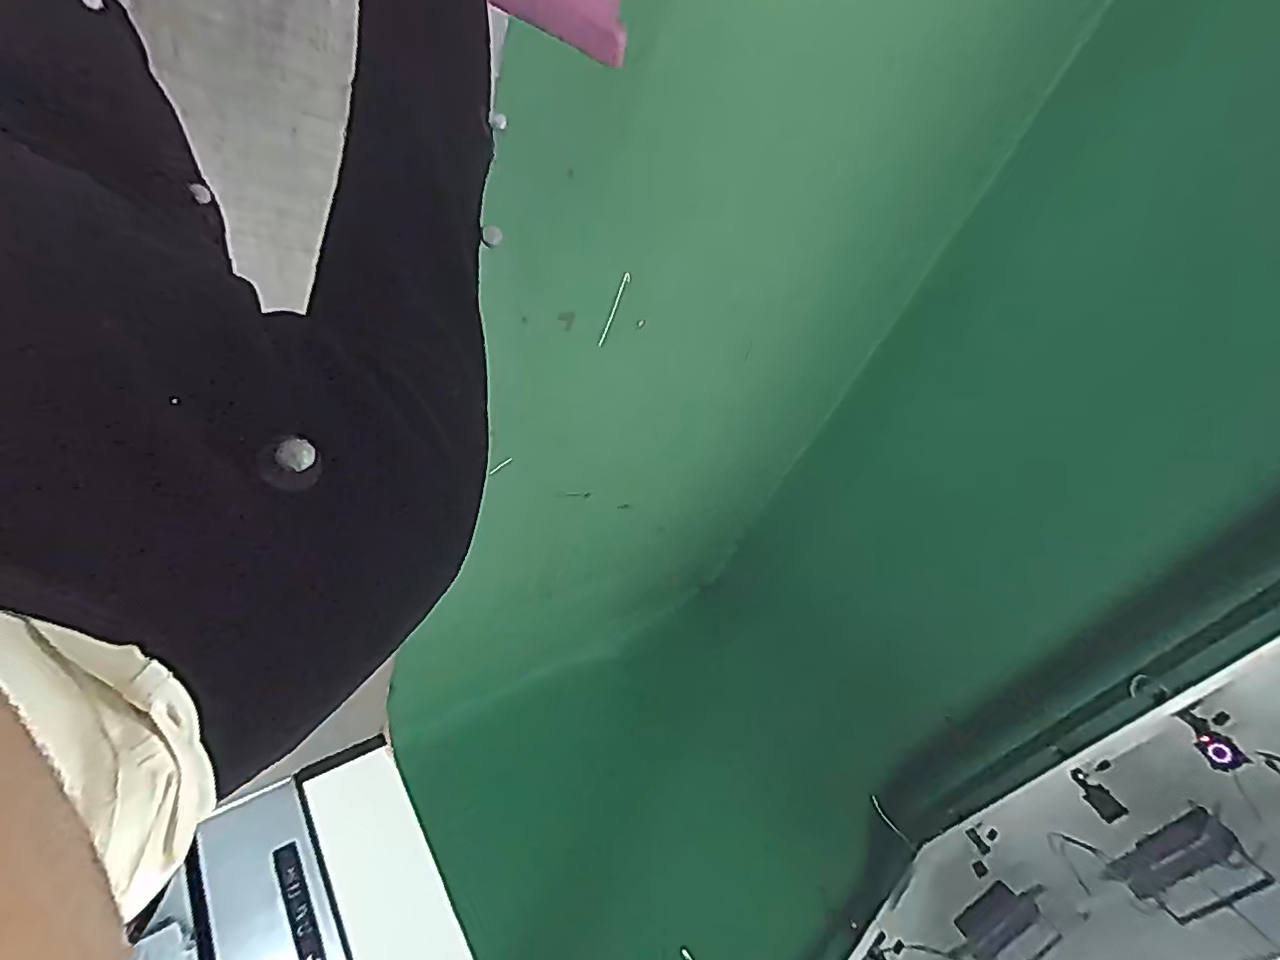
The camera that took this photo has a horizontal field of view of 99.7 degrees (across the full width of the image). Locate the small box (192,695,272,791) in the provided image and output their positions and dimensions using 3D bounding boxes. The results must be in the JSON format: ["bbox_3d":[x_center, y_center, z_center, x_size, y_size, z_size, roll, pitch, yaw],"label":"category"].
[{"bbox_3d":[-1.218,0.778,1.613,0.168,0.176,0.179,-7,136,-45],"label":"small box"}]

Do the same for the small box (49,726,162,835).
[{"bbox_3d":[-1.388,0.773,1.406,0.168,0.176,0.179,-18,144,-33],"label":"small box"}]
